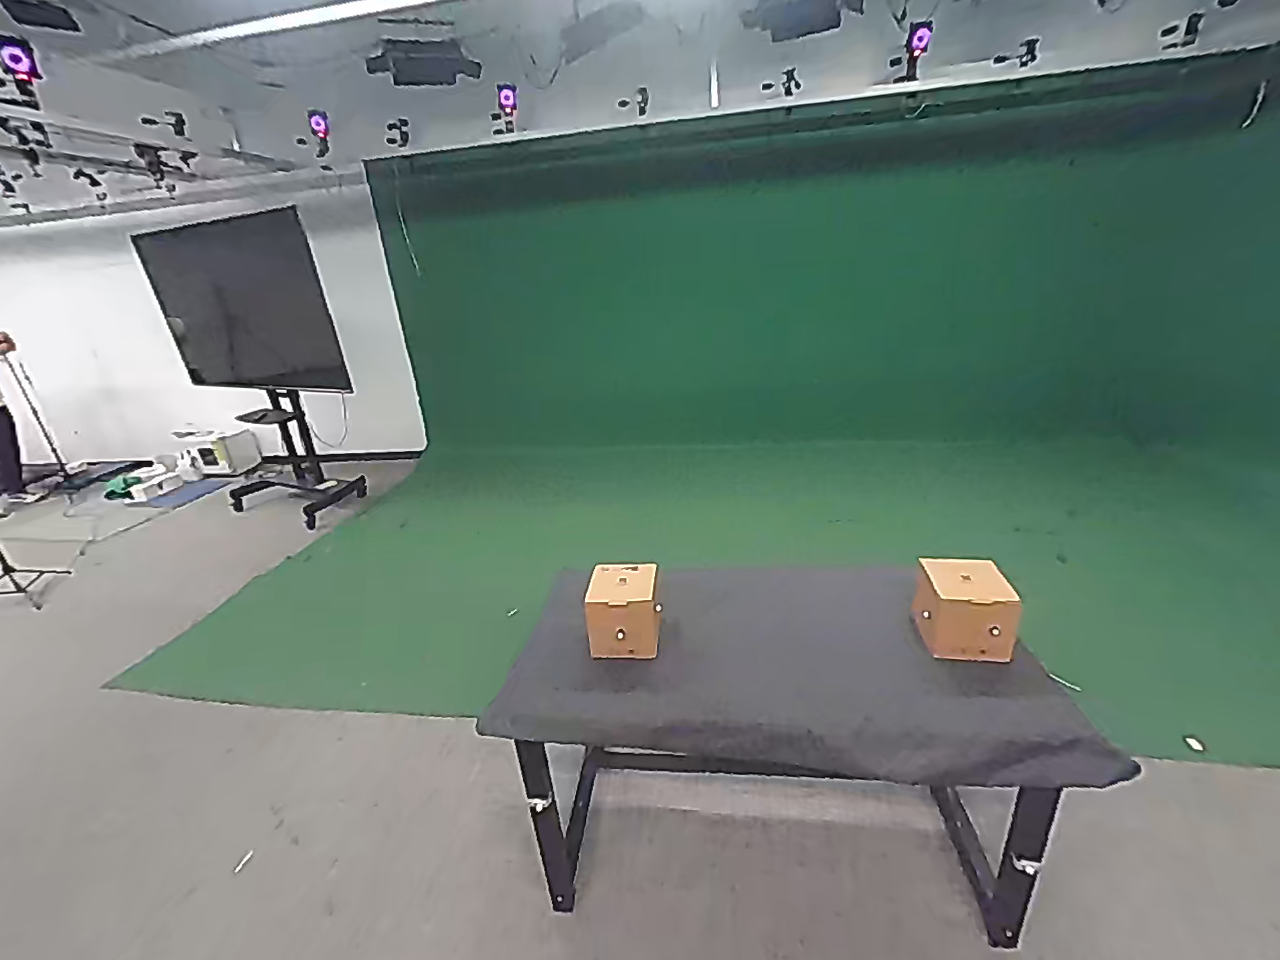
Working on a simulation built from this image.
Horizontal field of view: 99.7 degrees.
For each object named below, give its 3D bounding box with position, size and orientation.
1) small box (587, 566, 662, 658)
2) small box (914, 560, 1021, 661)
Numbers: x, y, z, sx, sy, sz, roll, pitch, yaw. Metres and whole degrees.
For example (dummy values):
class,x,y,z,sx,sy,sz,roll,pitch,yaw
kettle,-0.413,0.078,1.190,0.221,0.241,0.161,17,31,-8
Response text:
class,x,y,z,sx,sy,sz,roll,pitch,yaw
small box,-0.033,0.340,1.391,0.168,0.176,0.179,-2,22,7
small box,0.768,0.308,1.285,0.168,0.176,0.179,0,21,11
